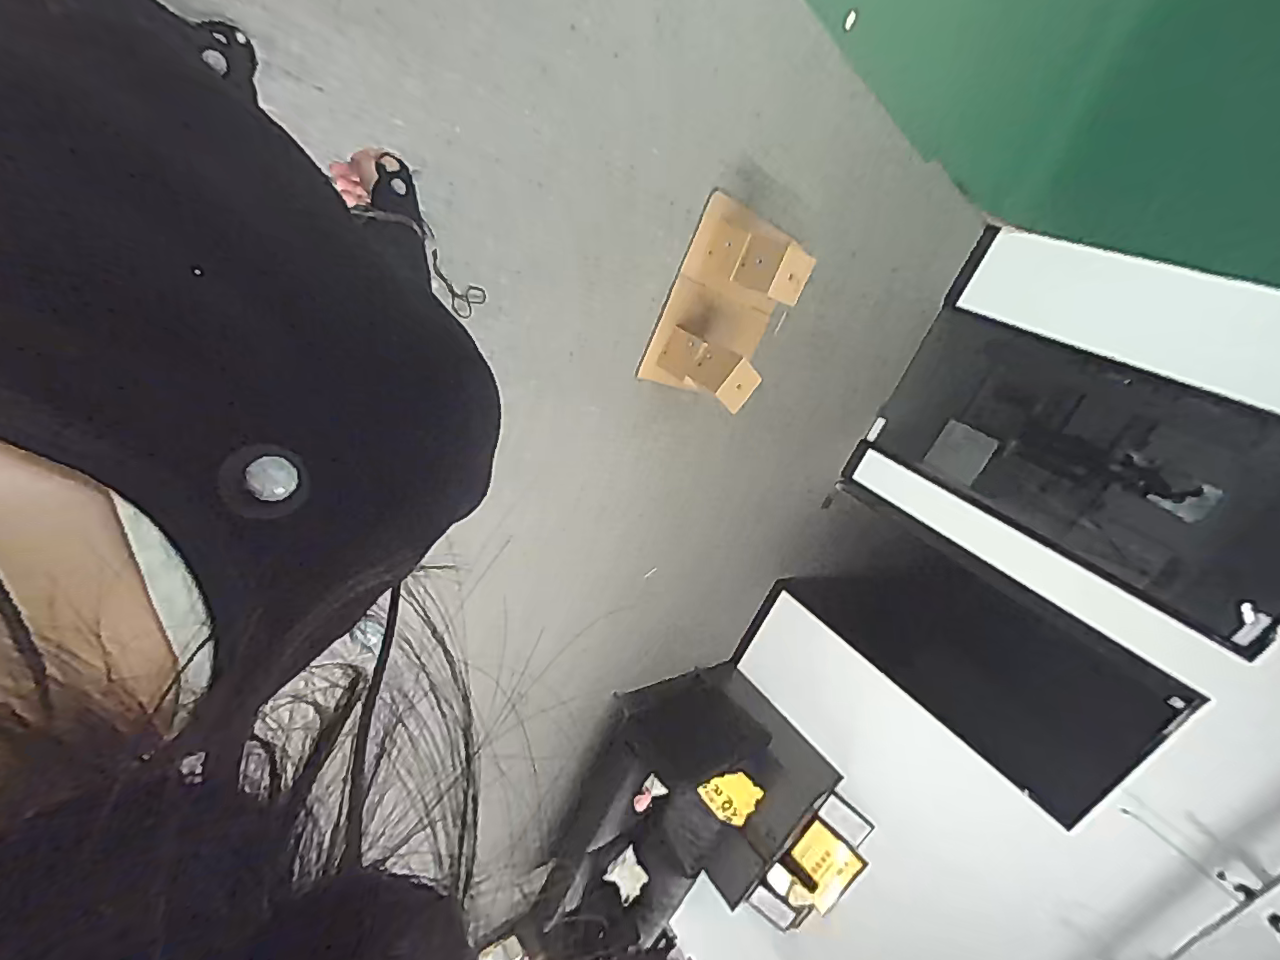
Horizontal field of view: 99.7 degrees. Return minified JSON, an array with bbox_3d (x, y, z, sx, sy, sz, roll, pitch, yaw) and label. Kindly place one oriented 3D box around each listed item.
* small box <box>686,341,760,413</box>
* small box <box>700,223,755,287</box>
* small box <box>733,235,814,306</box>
[{"bbox_3d":[0.301,-0.381,1.977,0.168,0.176,0.179,-52,143,5],"label":"small box"},{"bbox_3d":[0.344,-0.799,1.934,0.179,0.176,0.168,-1,122,-45],"label":"small box"},{"bbox_3d":[0.447,-0.715,1.837,0.179,0.176,0.168,0,122,-45],"label":"small box"}]
